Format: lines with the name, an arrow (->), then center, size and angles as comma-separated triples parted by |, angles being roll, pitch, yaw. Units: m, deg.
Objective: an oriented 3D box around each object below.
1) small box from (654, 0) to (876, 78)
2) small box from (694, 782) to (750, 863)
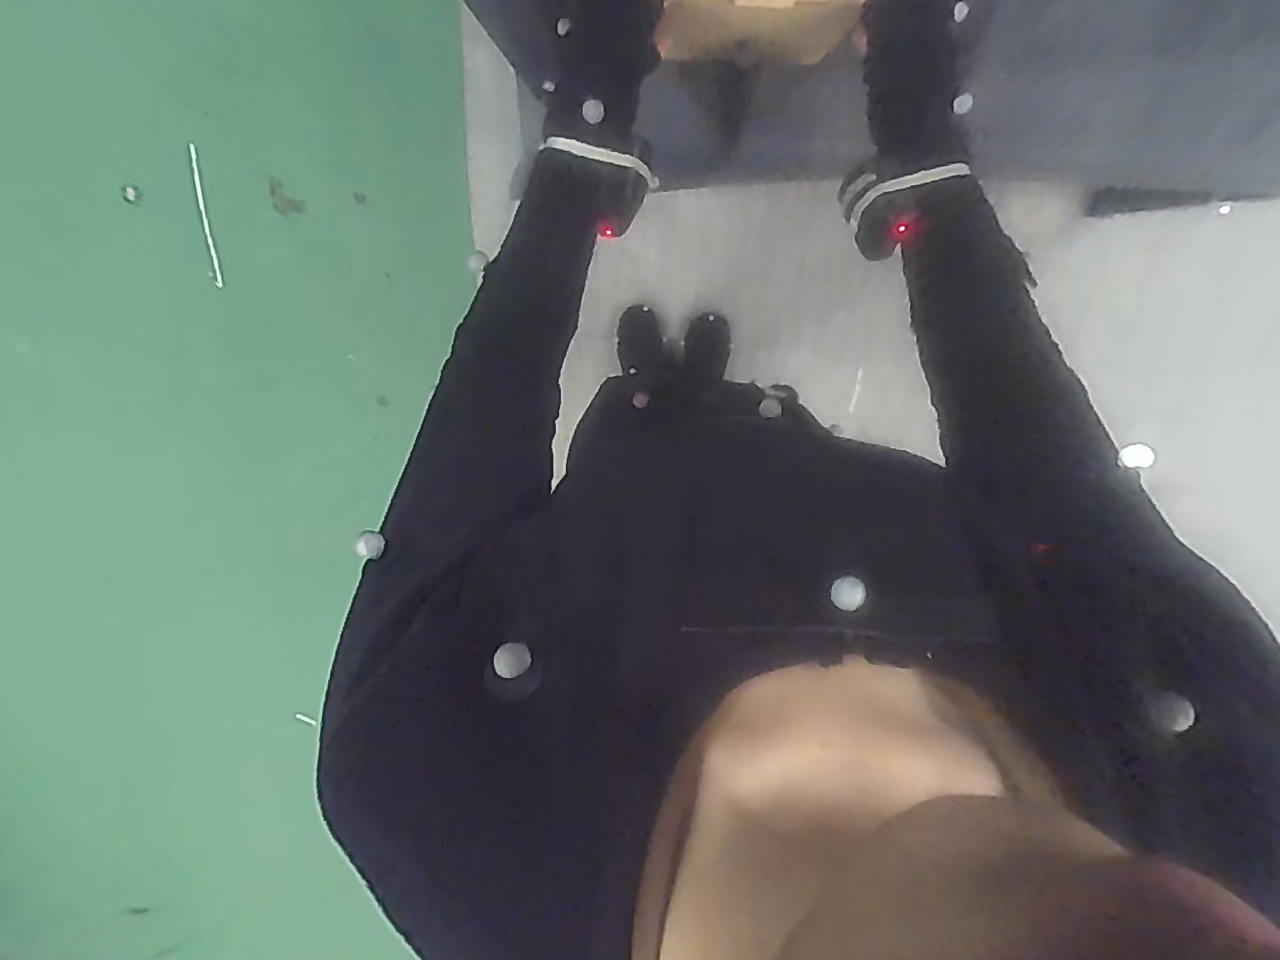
small box -> 0.097, -0.459, 0.441 | 0.168, 0.176, 0.179 | 2, 115, 1
small box -> 0.280, 1.189, 1.881 | 0.168, 0.176, 0.179 | 1, 109, 0
